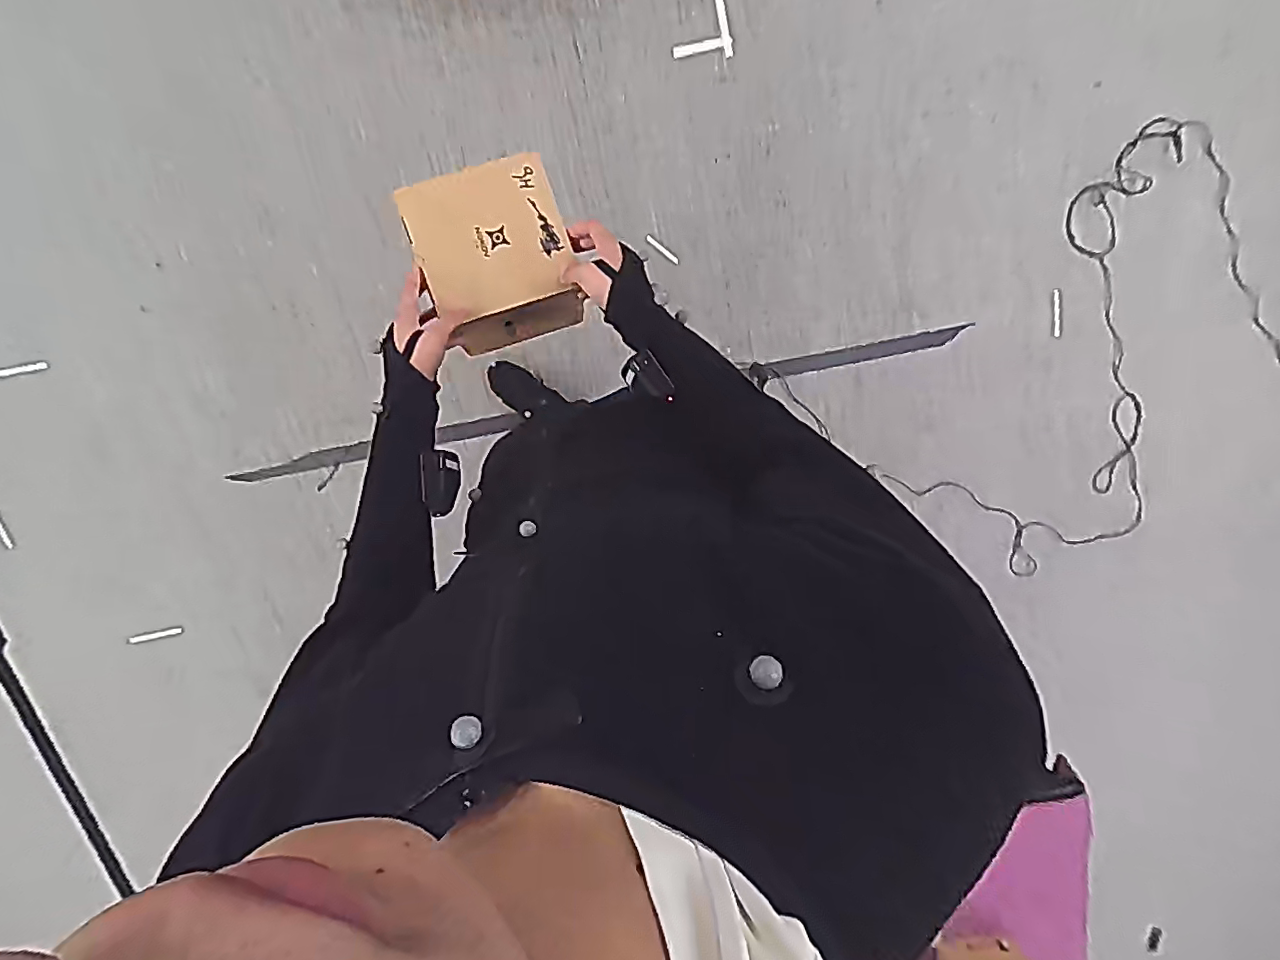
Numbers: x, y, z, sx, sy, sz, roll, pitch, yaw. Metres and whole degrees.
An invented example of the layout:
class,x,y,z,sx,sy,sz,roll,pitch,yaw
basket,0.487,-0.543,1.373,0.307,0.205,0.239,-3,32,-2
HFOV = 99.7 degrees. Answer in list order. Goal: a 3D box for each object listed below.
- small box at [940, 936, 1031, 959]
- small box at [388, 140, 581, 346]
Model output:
class,x,y,z,sx,sy,sz,roll,pitch,yaw
small box,0.739,1.081,1.108,0.168,0.176,0.179,-6,103,-3
small box,-0.181,-0.284,0.689,0.179,0.176,0.168,-19,95,-4
